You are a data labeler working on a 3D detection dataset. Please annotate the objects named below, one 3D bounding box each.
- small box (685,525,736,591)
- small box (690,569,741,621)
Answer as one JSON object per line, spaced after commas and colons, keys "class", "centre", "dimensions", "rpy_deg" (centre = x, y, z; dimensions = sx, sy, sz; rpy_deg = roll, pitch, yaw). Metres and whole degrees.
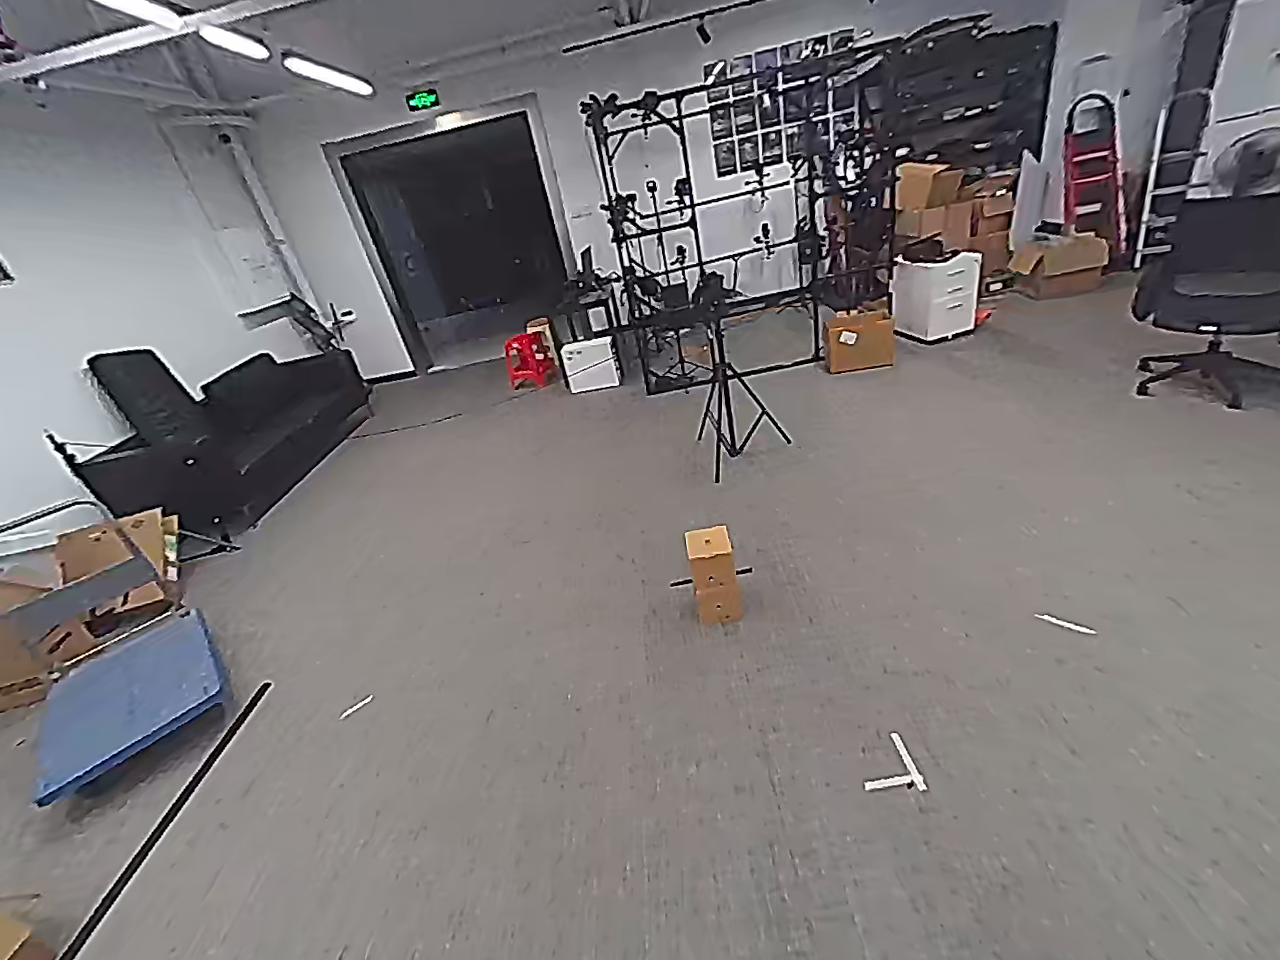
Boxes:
{"class": "small box", "centre": [0.275, 0.304, 2.107], "dimensions": [0.168, 0.176, 0.179], "rpy_deg": [-11, 29, 5]}
{"class": "small box", "centre": [0.304, 0.449, 2.177], "dimensions": [0.168, 0.176, 0.179], "rpy_deg": [-12, 28, 3]}
